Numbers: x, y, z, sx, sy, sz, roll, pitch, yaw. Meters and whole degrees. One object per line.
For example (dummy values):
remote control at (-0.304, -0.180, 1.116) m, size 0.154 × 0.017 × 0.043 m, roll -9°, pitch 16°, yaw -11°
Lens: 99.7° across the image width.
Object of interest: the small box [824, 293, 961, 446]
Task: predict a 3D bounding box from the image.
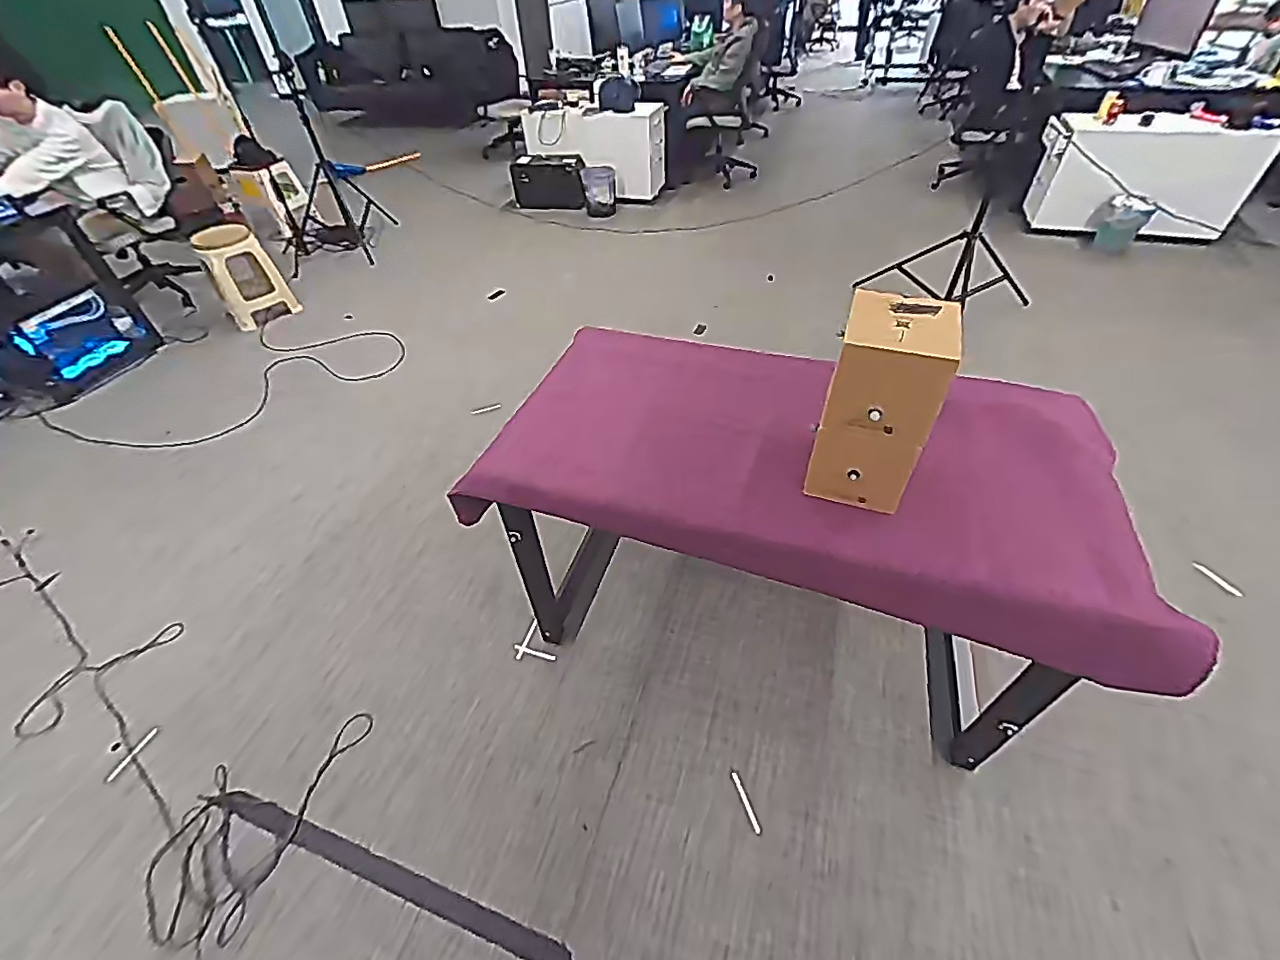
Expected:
small box at (0.414, -0.185, 0.900) m, size 0.168 × 0.176 × 0.179 m, roll 14°, pitch 48°, yaw 17°

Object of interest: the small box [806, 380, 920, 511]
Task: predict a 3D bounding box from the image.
small box at (0.417, -0.067, 1.014) m, size 0.168 × 0.176 × 0.179 m, roll 14°, pitch 47°, yaw 16°
